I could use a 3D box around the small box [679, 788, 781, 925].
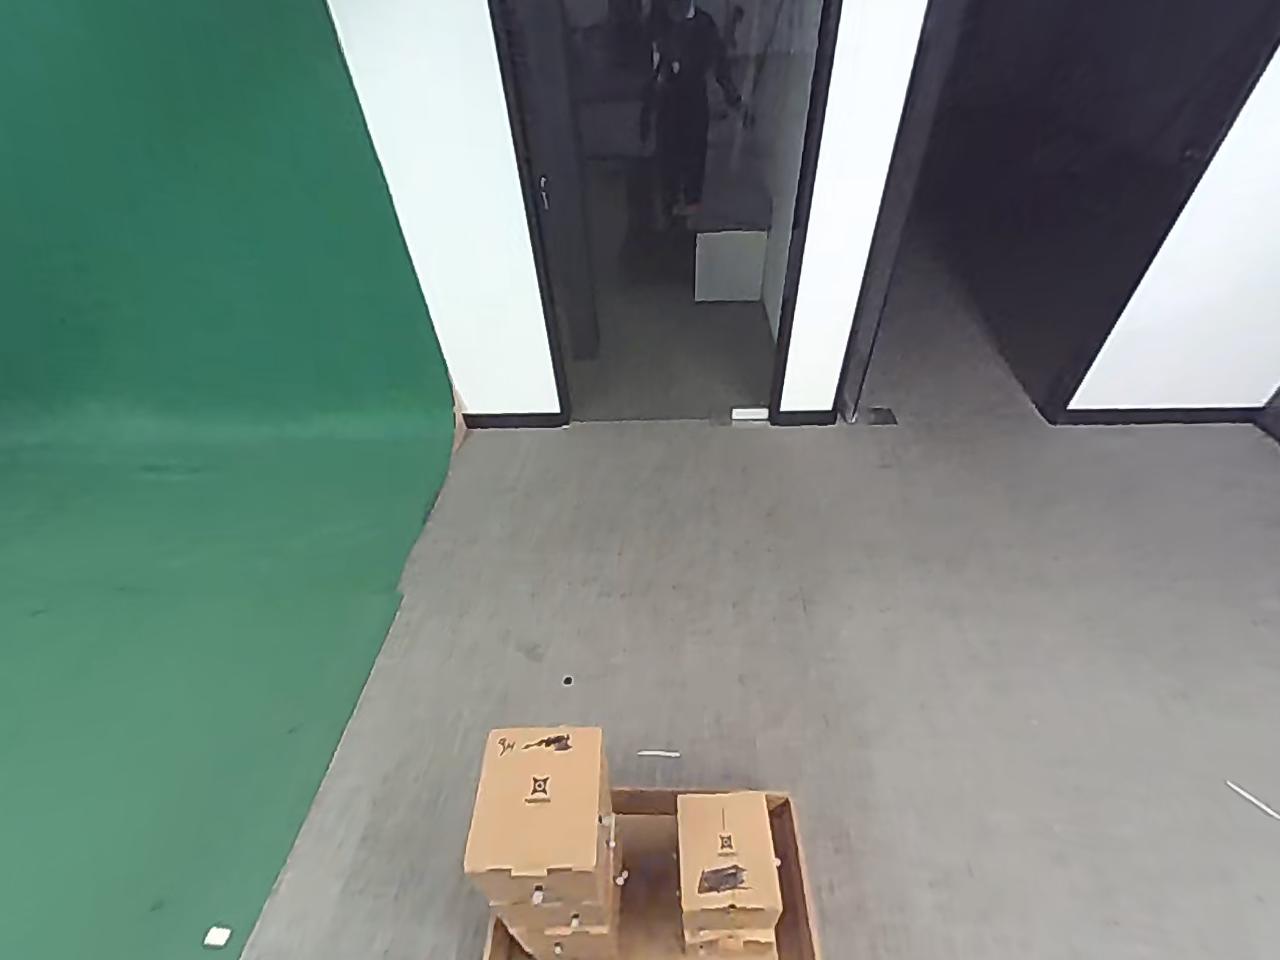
[{"bbox_3d":[0.157,0.692,0.991,0.168,0.176,0.179,1,43,4],"label":"small box"}]

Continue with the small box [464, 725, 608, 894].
[{"bbox_3d":[-0.134,0.472,0.773,0.168,0.176,0.179,0,43,0],"label":"small box"}]

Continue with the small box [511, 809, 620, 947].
[{"bbox_3d":[-0.125,0.722,0.986,0.168,0.176,0.179,0,43,2],"label":"small box"}]

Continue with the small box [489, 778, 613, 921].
[{"bbox_3d":[-0.132,0.596,0.880,0.168,0.176,0.179,0,42,0],"label":"small box"}]
